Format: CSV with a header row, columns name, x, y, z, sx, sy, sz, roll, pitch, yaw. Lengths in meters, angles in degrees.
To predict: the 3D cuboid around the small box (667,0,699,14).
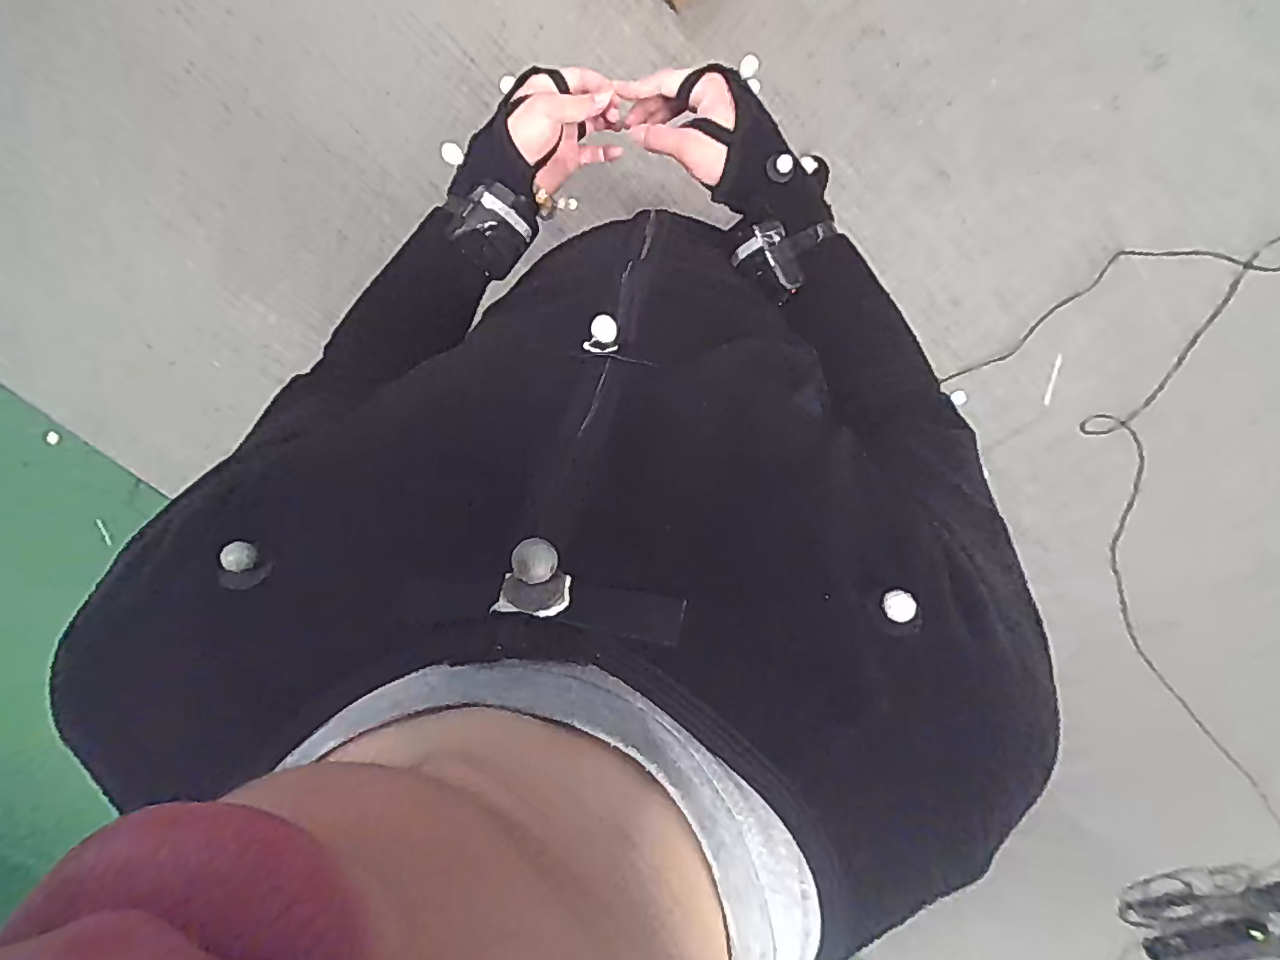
name,x,y,z,sx,sy,sz,roll,pitch,yaw
small box,0.090,-1.056,1.037,0.168,0.176,0.179,-30,113,20
